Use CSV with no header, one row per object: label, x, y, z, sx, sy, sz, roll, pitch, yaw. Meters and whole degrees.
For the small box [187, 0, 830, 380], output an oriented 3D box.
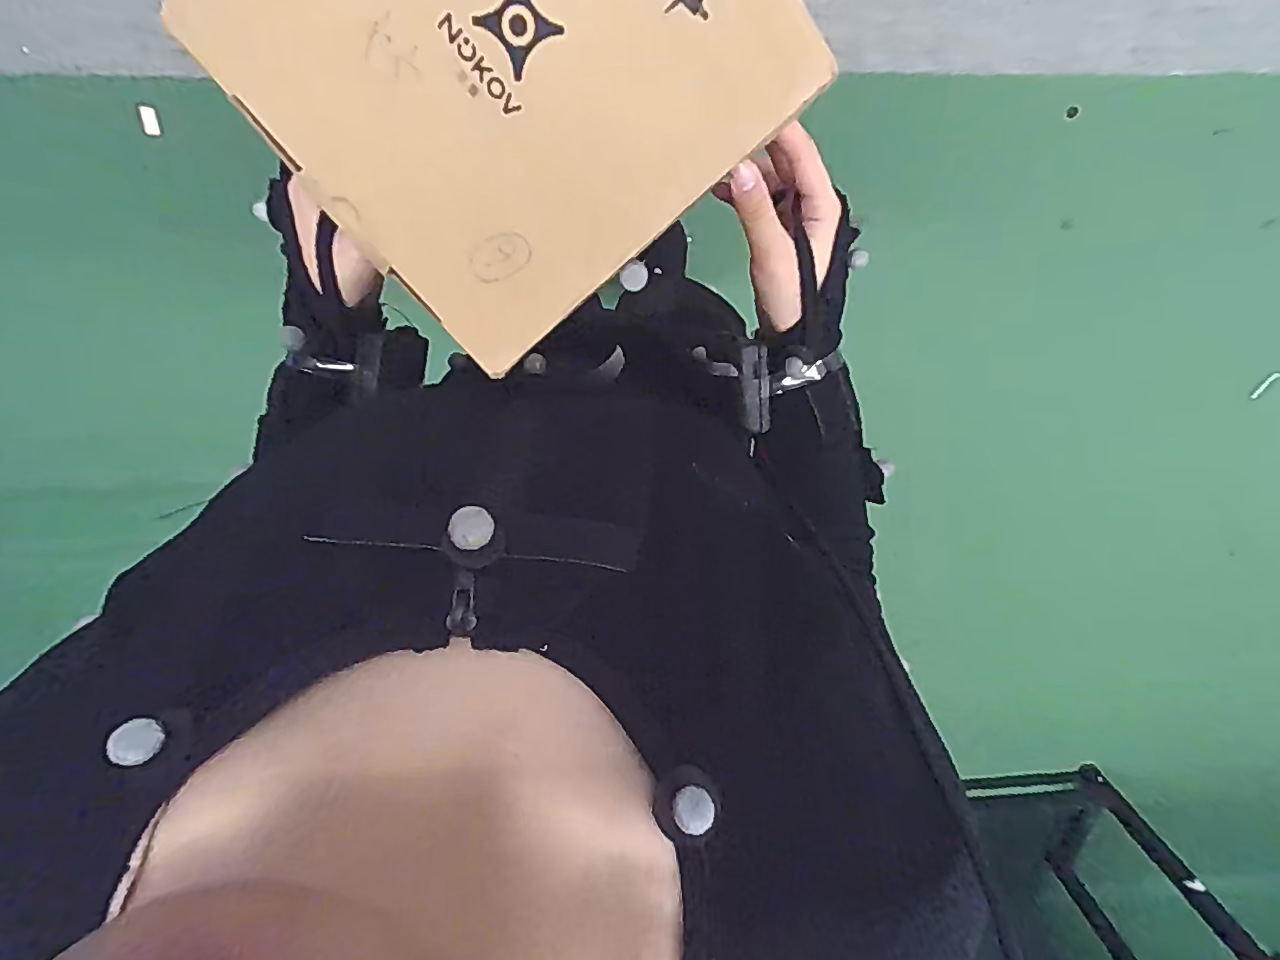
small box,-0.043,-0.179,0.265,0.179,0.176,0.168,-36,108,16
